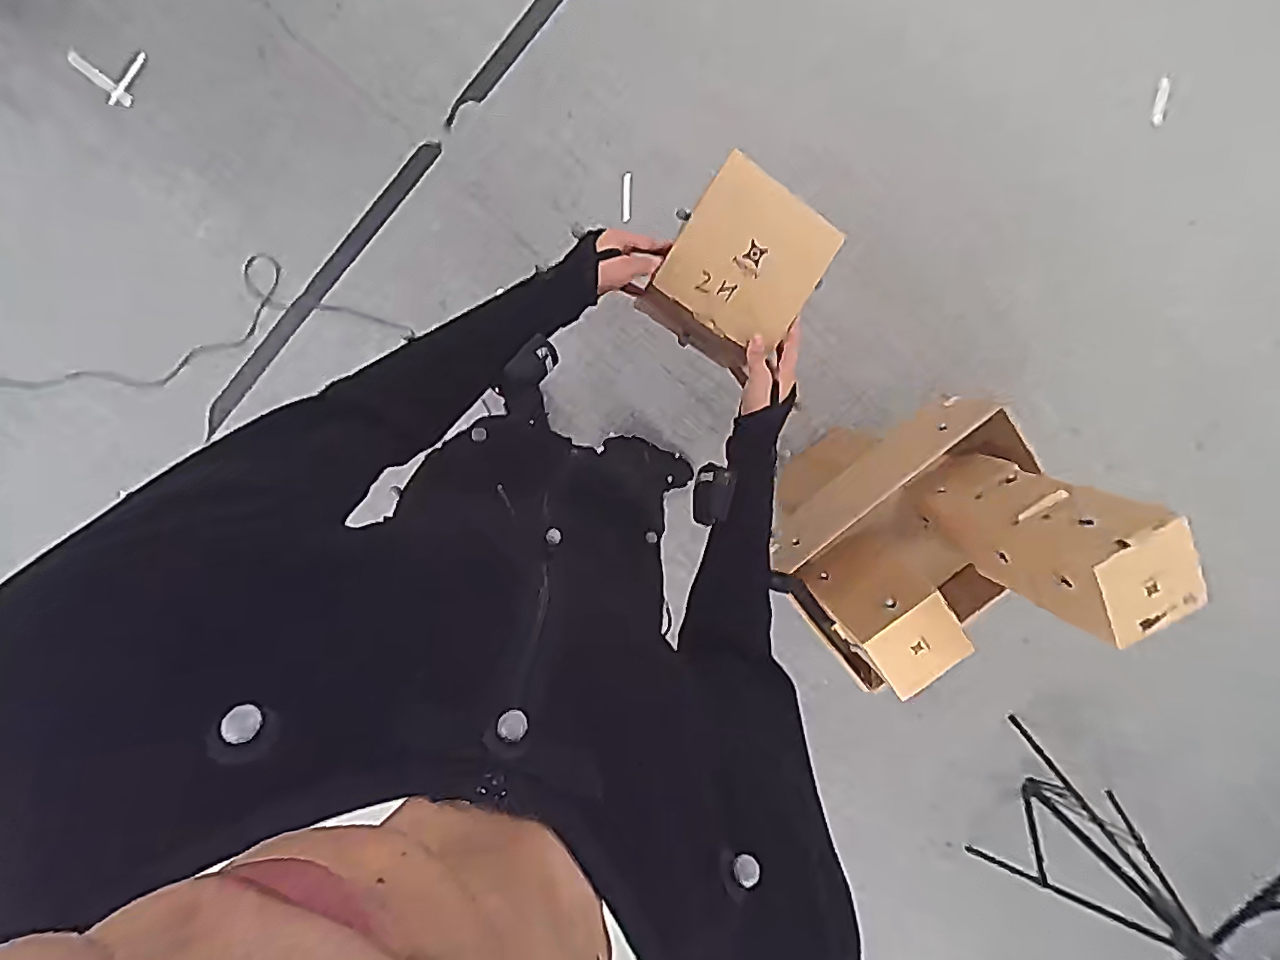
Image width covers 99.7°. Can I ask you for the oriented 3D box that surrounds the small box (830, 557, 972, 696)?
[{"bbox_3d":[0.514,0.288,1.098,0.179,0.176,0.168,-37,105,2],"label":"small box"}]

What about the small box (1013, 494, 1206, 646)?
[{"bbox_3d":[0.783,0.139,0.919,0.168,0.176,0.179,-28,105,1],"label":"small box"}]

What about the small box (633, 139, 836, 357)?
[{"bbox_3d":[0.104,-0.275,0.689,0.168,0.176,0.179,31,95,-11],"label":"small box"}]

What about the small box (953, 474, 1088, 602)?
[{"bbox_3d":[0.770,0.103,1.079,0.168,0.176,0.179,-32,106,2],"label":"small box"}]
